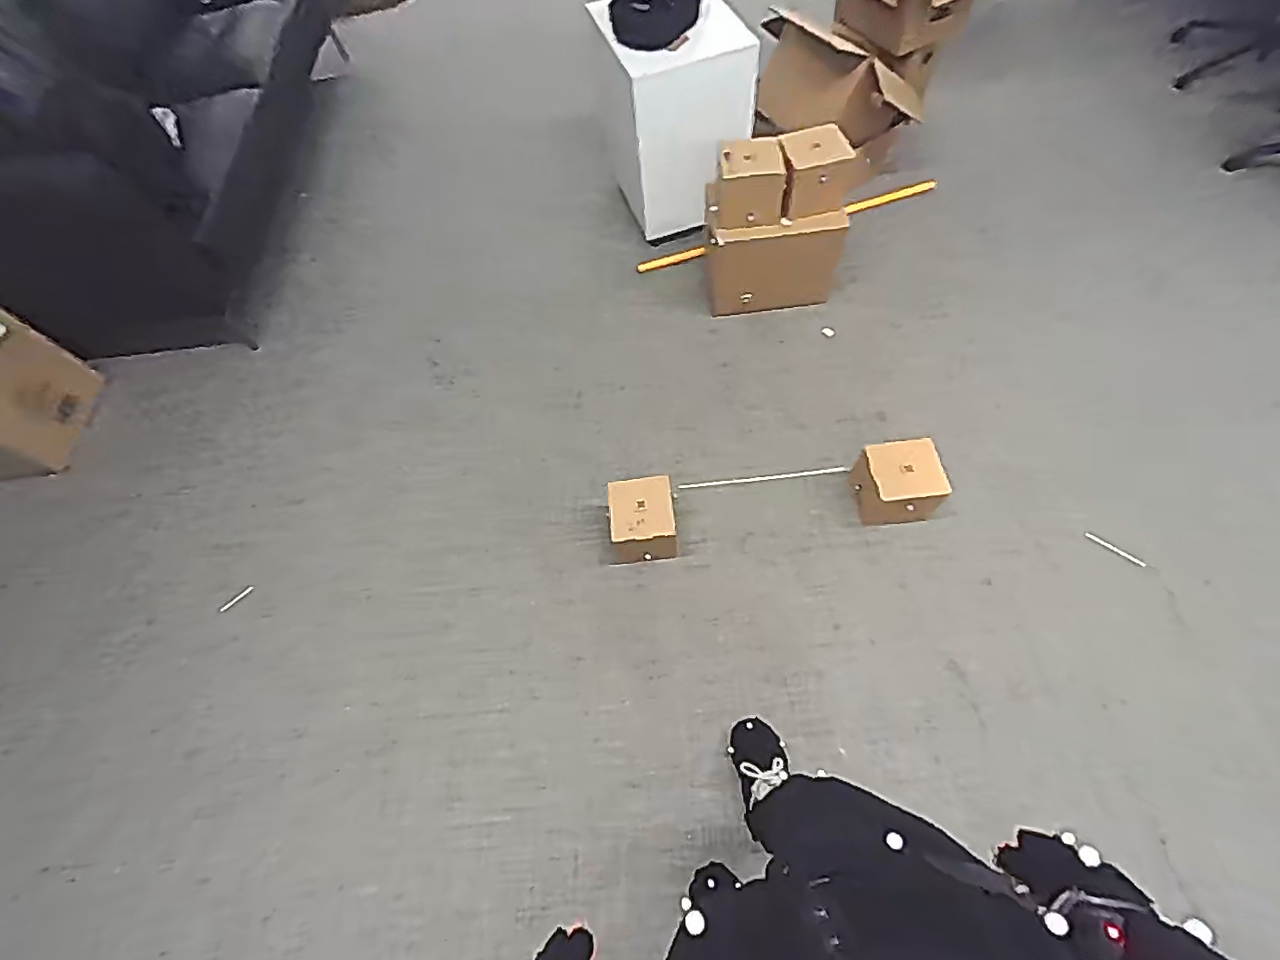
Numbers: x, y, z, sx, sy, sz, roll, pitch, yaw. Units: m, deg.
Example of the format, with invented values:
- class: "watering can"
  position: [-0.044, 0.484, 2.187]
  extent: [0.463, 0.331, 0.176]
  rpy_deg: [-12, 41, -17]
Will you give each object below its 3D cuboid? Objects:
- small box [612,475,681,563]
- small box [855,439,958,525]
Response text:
- class: "small box"
  position: [0.020, 0.109, 1.462]
  extent: [0.168, 0.176, 0.179]
  rpy_deg: [-7, 62, 3]
- class: "small box"
  position: [0.698, 0.010, 1.438]
  extent: [0.179, 0.176, 0.168]
  rpy_deg: [-7, 63, 3]
